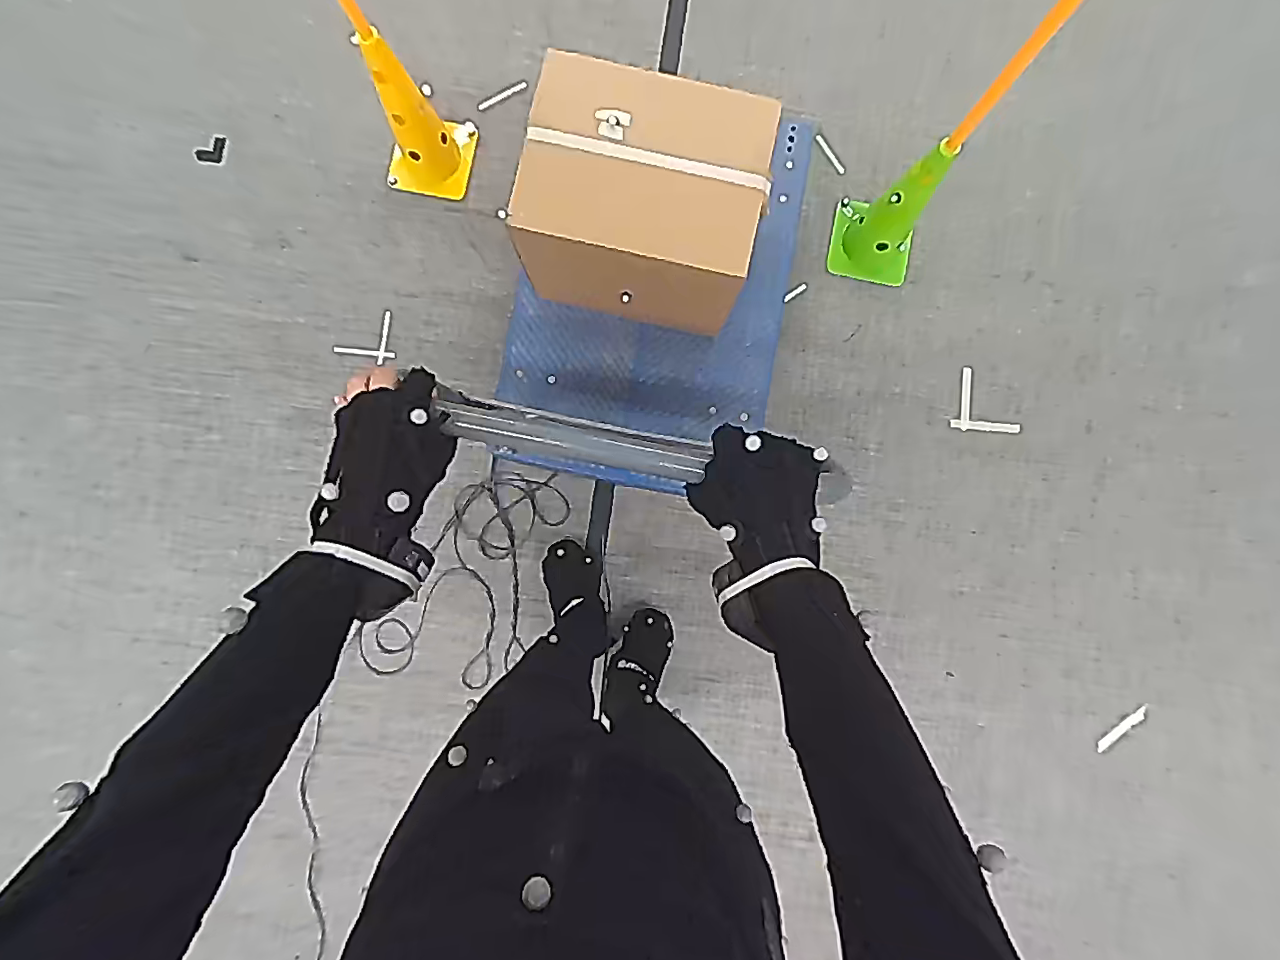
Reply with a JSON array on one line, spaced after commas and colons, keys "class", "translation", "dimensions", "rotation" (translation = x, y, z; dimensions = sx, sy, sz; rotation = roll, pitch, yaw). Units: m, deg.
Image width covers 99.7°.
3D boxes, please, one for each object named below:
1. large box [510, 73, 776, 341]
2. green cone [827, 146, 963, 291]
[{"class": "large box", "translation": [0.010, -0.497, 1.056], "dimensions": [0.408, 0.320, 0.320], "rotation": [13, 86, 1]}, {"class": "green cone", "translation": [0.590, -0.606, 1.210], "dimensions": [0.202, 0.368, 0.200], "rotation": [12, 86, 0]}]
